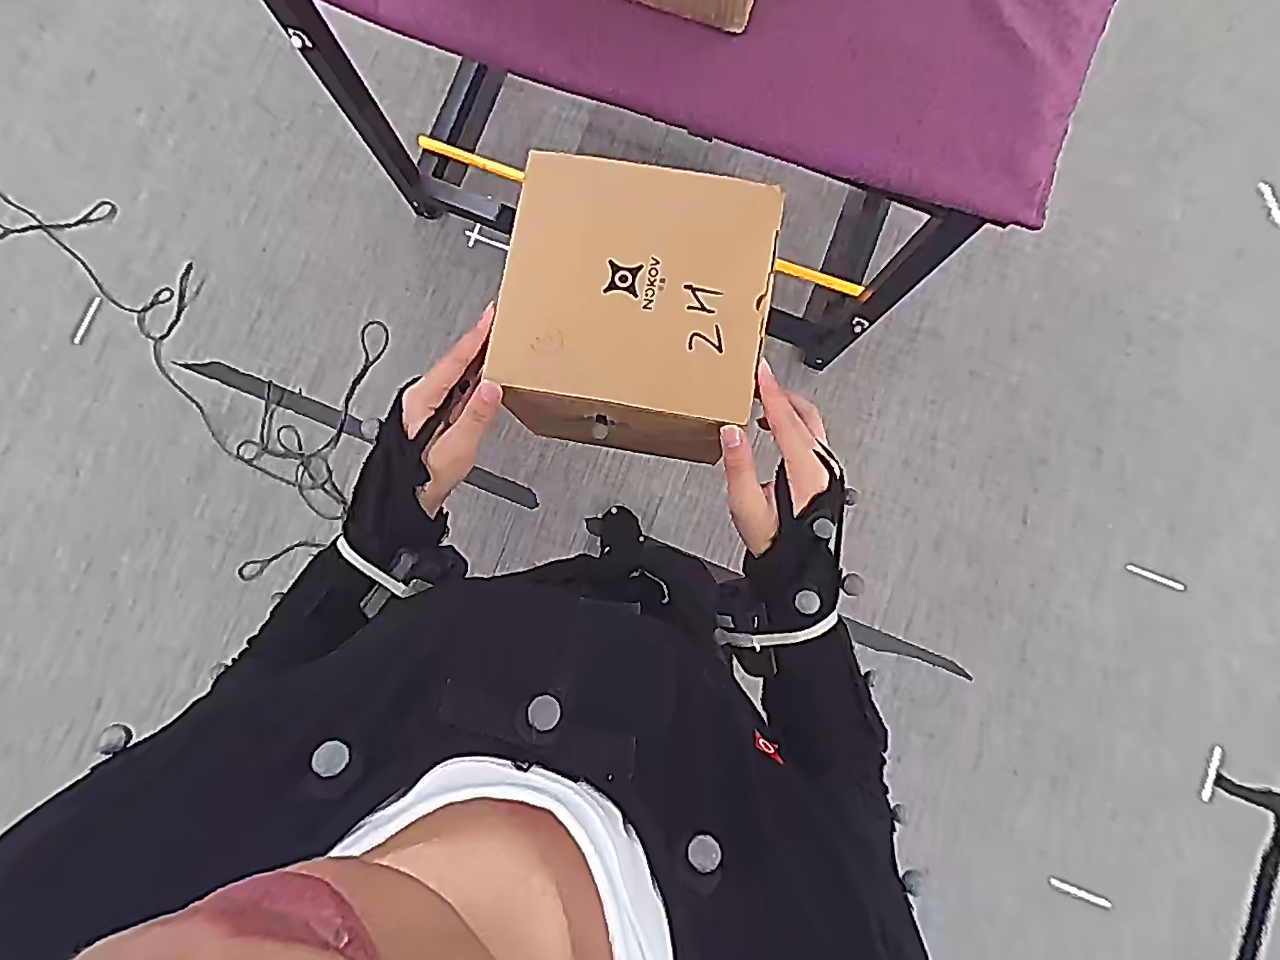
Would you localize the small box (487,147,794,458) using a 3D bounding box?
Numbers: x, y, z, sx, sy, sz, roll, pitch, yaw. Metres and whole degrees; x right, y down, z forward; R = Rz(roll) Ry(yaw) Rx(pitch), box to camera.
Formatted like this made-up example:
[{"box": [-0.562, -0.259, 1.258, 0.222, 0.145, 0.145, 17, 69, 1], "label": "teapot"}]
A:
[{"box": [0.003, -0.119, 0.426, 0.179, 0.176, 0.168, 10, 84, 1], "label": "small box"}]
